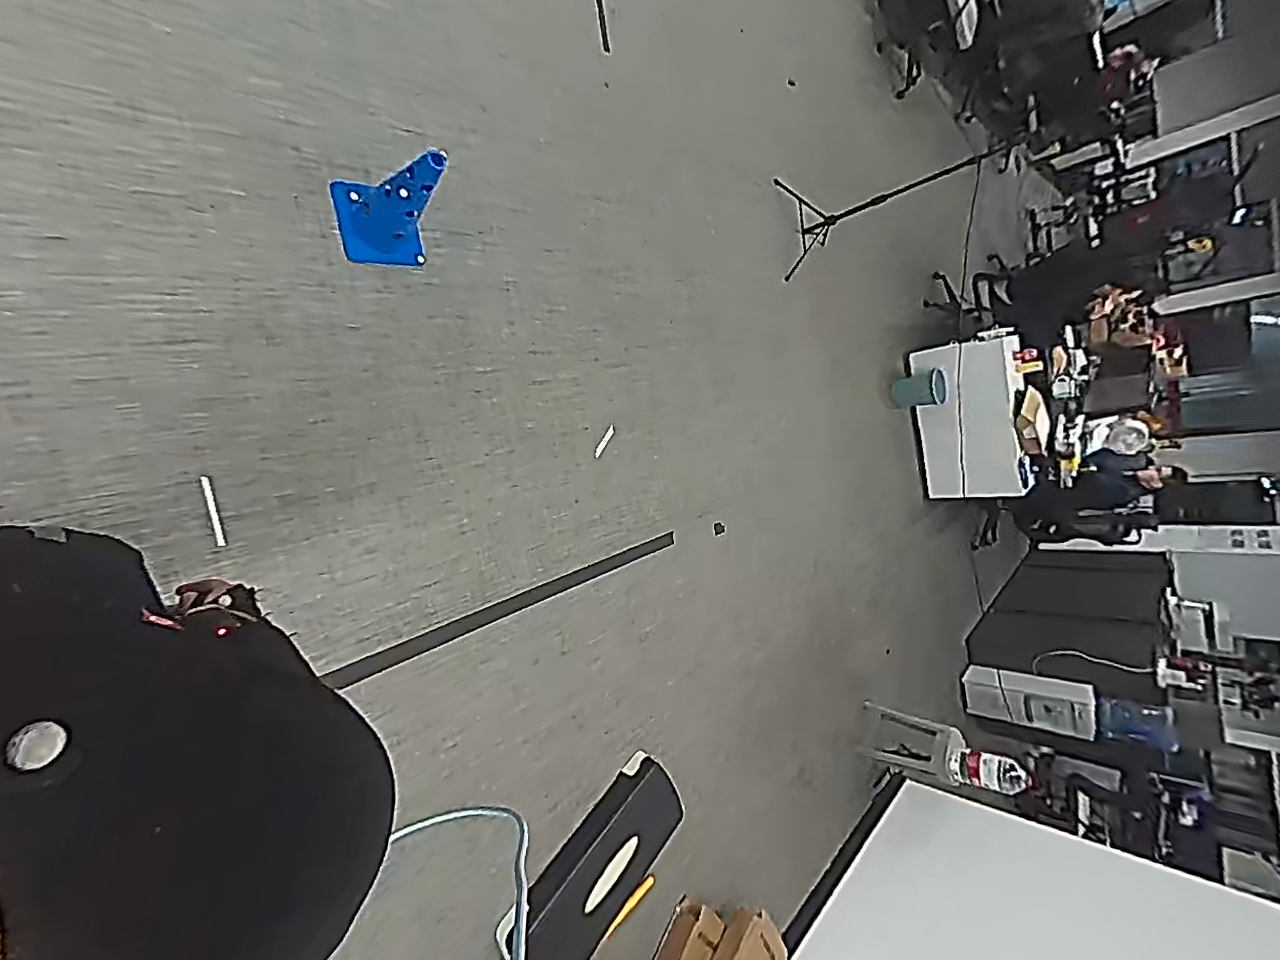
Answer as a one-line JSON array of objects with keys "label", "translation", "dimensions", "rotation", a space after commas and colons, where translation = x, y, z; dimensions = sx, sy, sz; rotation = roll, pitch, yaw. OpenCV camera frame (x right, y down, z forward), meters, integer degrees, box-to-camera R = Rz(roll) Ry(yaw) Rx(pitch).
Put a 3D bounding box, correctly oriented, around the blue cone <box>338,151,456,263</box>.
[{"label": "blue cone", "translation": [-0.540, -0.660, 1.256], "dimensions": [0.192, 0.380, 0.193], "rotation": [-15, 97, -44]}]
